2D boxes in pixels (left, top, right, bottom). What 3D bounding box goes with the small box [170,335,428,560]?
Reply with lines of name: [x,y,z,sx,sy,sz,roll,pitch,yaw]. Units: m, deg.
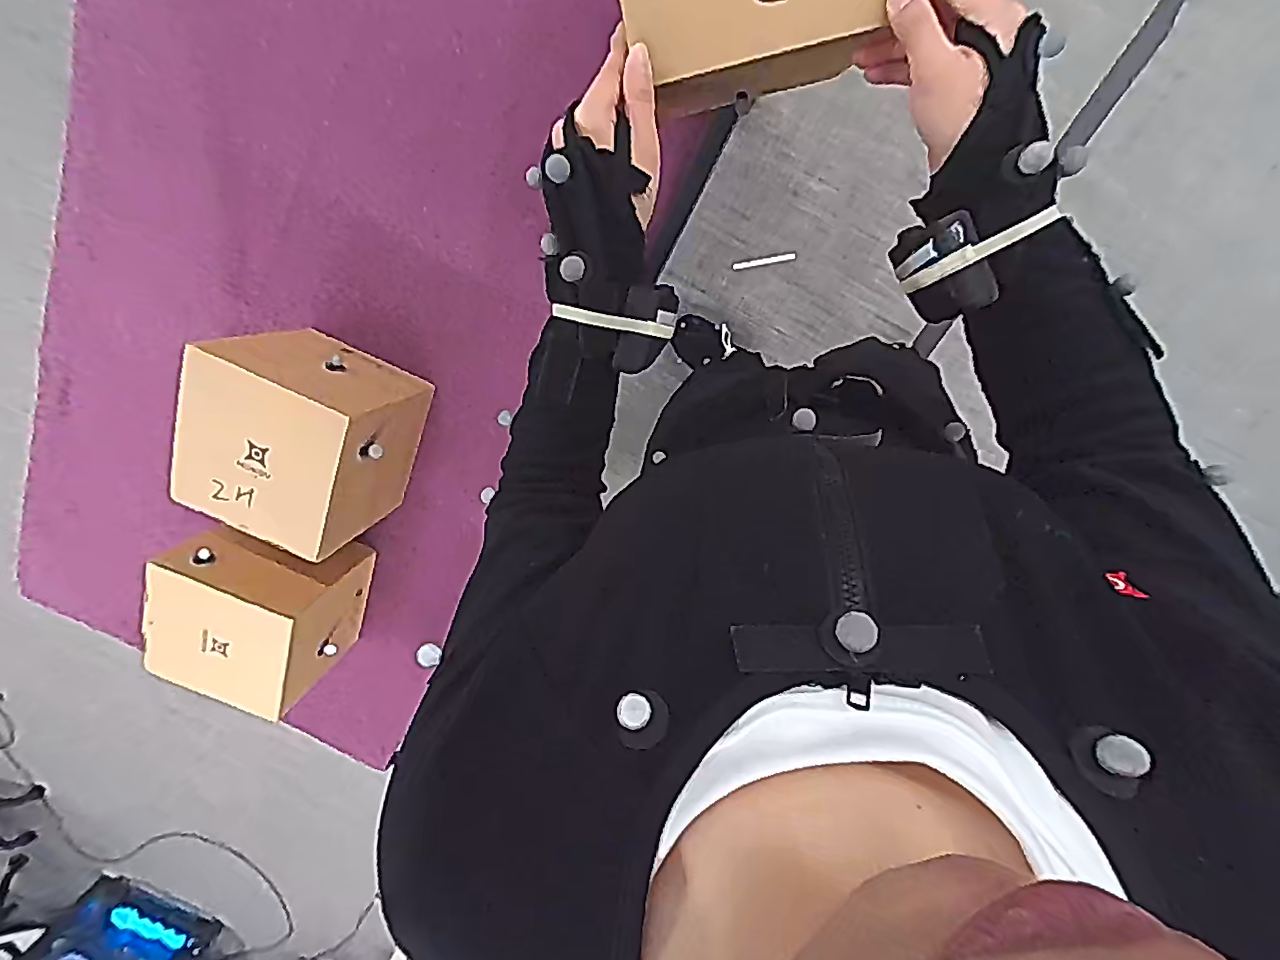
small box: [-0.362,-0.049,0.600,0.168,0.176,0.179,25,111,0]

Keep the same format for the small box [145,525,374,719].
small box: [-0.476,0.161,0.695,0.179,0.176,0.168,22,111,0]
